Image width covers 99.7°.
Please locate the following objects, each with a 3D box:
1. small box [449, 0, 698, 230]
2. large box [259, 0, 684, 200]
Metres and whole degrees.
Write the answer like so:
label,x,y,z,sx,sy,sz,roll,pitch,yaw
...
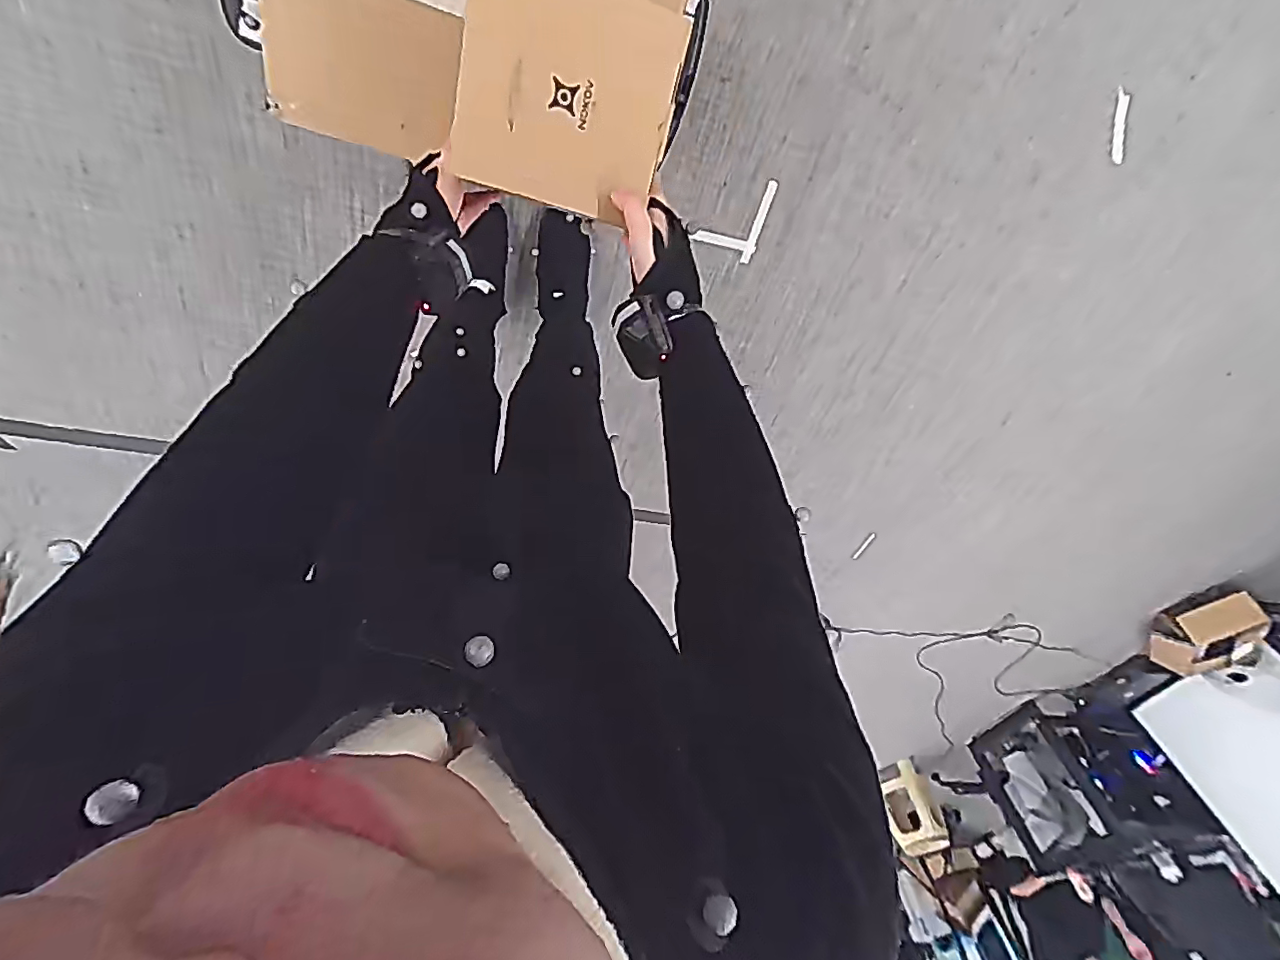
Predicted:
label,x,y,z,sx,sy,sz,roll,pitch,yaw
small box,-0.070,-0.352,0.510,0.179,0.176,0.168,10,115,-16
large box,-0.177,-0.568,0.653,0.408,0.320,0.320,10,128,-16
